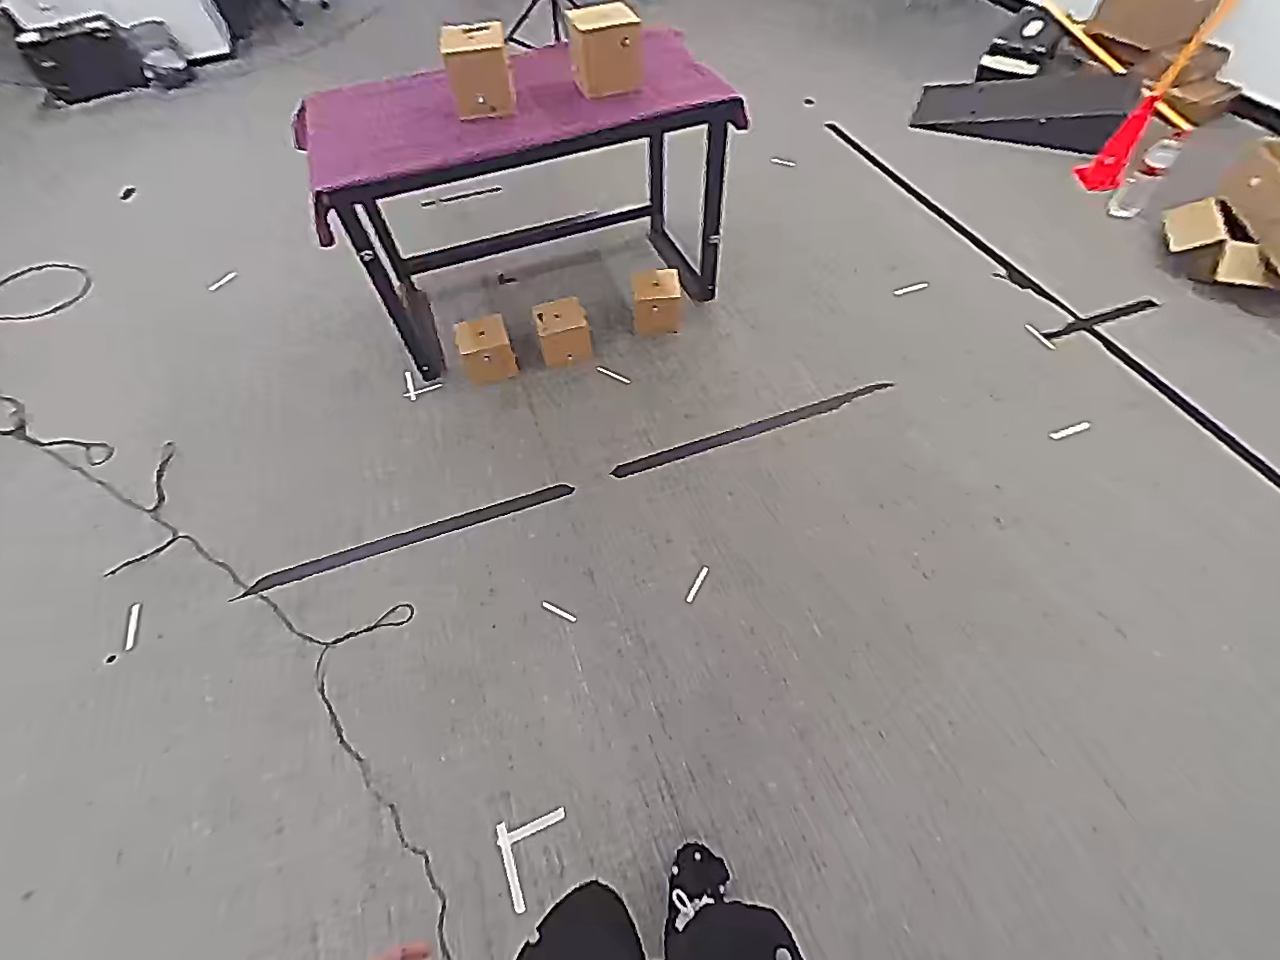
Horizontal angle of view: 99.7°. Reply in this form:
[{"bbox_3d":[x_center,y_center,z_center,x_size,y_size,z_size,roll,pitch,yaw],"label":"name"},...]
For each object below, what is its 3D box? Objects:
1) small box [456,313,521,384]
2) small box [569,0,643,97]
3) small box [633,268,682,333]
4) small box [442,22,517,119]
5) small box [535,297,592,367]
[{"bbox_3d":[-0.551,-0.475,1.973,0.179,0.176,0.168,-17,59,-8],"label":"small box"},{"bbox_3d":[-0.097,-1.261,1.584,0.179,0.176,0.168,-17,57,-7],"label":"small box"},{"bbox_3d":[0.067,-0.685,2.075,0.179,0.176,0.168,-5,58,1],"label":"small box"},{"bbox_3d":[-0.452,-1.168,1.544,0.168,0.176,0.179,-9,58,-2],"label":"small box"},{"bbox_3d":[-0.279,-0.545,2.003,0.179,0.176,0.168,-15,58,-7],"label":"small box"}]
